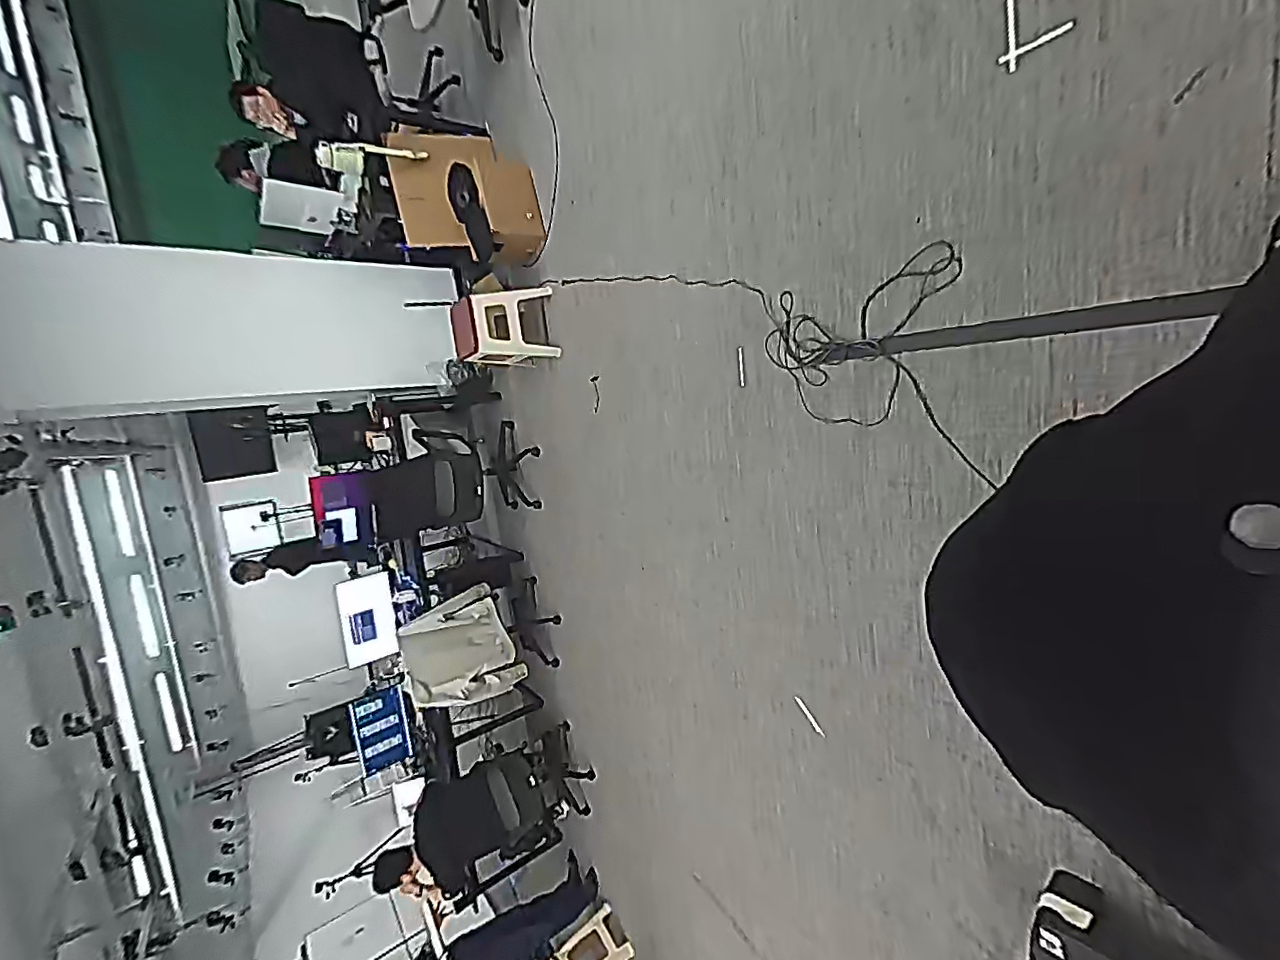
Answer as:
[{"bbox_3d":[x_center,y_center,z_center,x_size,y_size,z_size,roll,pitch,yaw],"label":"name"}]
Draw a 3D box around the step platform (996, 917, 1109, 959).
[{"bbox_3d":[1.058,1.186,1.003,0.684,0.204,0.286,2,102,54],"label":"step platform"}]
